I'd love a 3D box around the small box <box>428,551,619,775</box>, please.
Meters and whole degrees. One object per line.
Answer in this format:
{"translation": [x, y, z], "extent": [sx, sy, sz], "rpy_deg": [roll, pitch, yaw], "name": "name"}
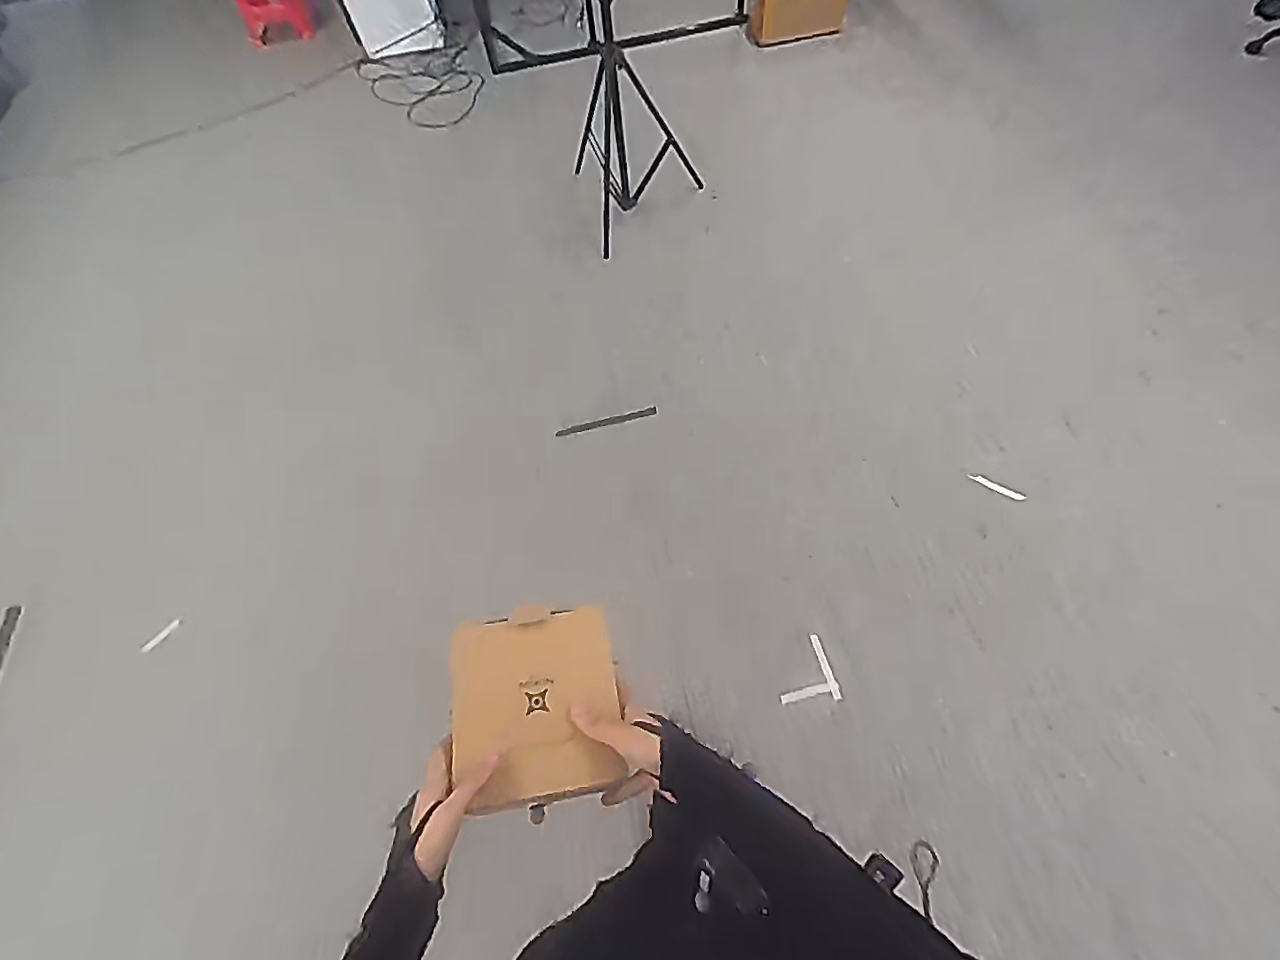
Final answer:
{"translation": [-0.120, 0.197, 0.576], "extent": [0.168, 0.176, 0.179], "rpy_deg": [-7, 59, -9], "name": "small box"}
